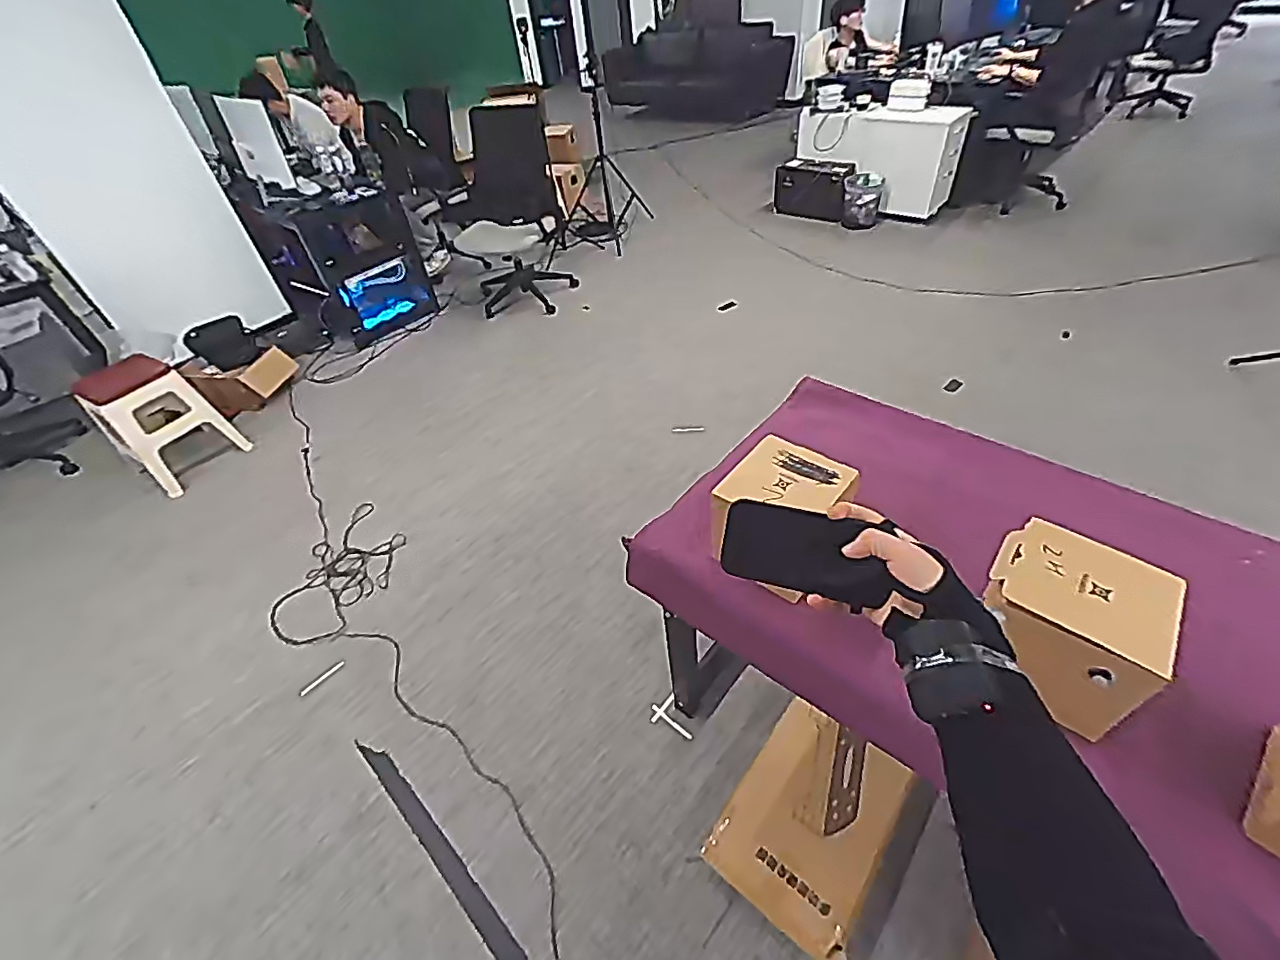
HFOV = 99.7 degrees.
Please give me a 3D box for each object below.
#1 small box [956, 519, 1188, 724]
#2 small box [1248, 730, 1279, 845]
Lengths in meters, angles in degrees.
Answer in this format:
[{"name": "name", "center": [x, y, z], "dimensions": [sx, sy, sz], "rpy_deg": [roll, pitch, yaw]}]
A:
[{"name": "small box", "center": [0.557, 0.190, 0.715], "dimensions": [0.179, 0.176, 0.168], "rpy_deg": [27, 51, 31]}, {"name": "small box", "center": [0.785, 0.328, 0.540], "dimensions": [0.168, 0.176, 0.179], "rpy_deg": [-36, 51, -26]}]
